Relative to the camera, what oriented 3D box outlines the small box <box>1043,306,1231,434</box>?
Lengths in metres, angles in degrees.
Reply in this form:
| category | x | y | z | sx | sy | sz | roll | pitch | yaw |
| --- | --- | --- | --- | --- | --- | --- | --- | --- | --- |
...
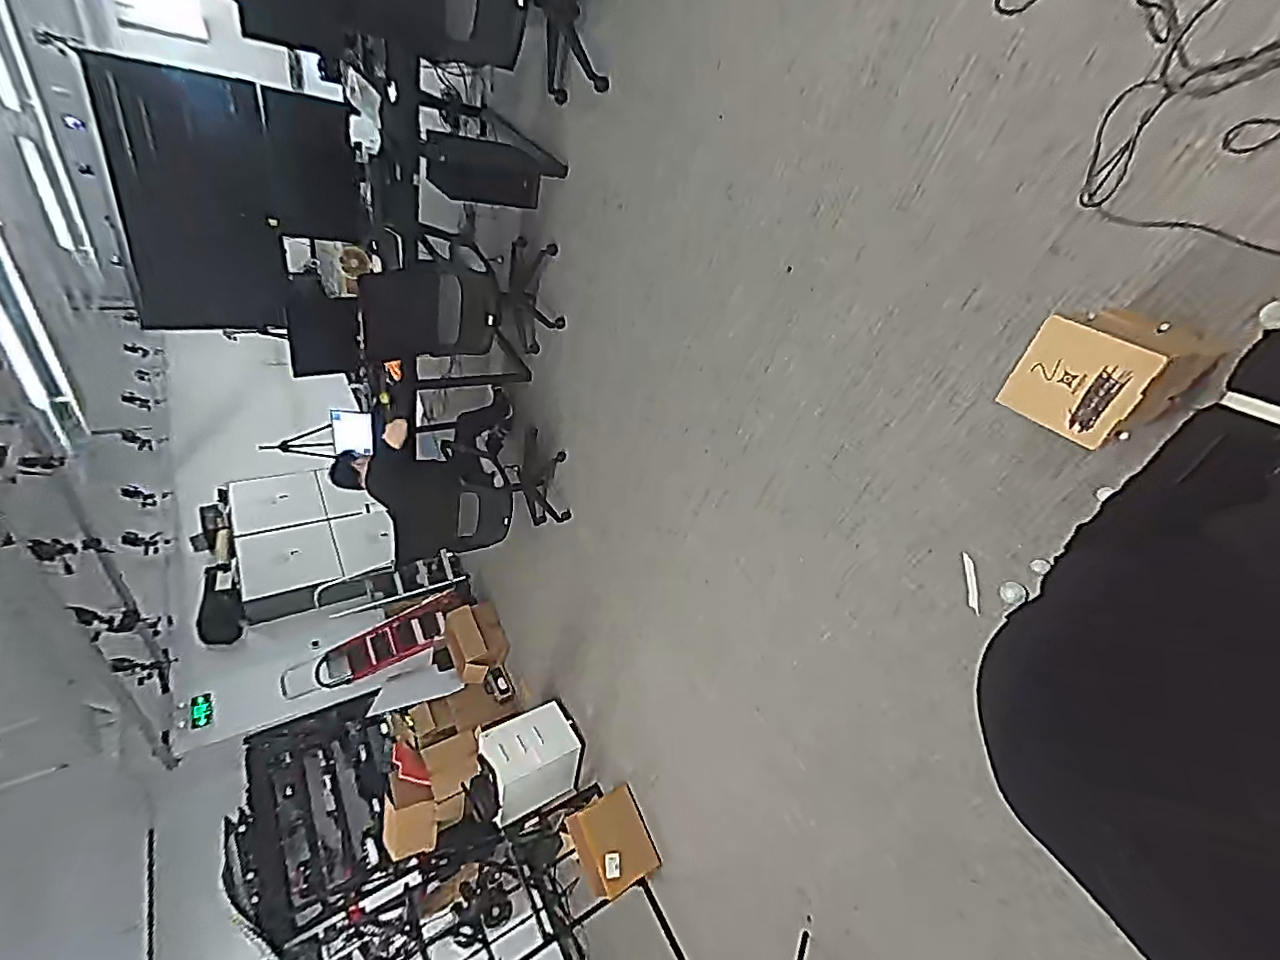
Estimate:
| category | x | y | z | sx | sy | sz | roll | pitch | yaw |
| --- | --- | --- | --- | --- | --- | --- | --- | --- | --- |
| small box | 0.913 | -0.210 | 0.997 | 0.179 | 0.176 | 0.168 | 51 | 139 | 35 |
